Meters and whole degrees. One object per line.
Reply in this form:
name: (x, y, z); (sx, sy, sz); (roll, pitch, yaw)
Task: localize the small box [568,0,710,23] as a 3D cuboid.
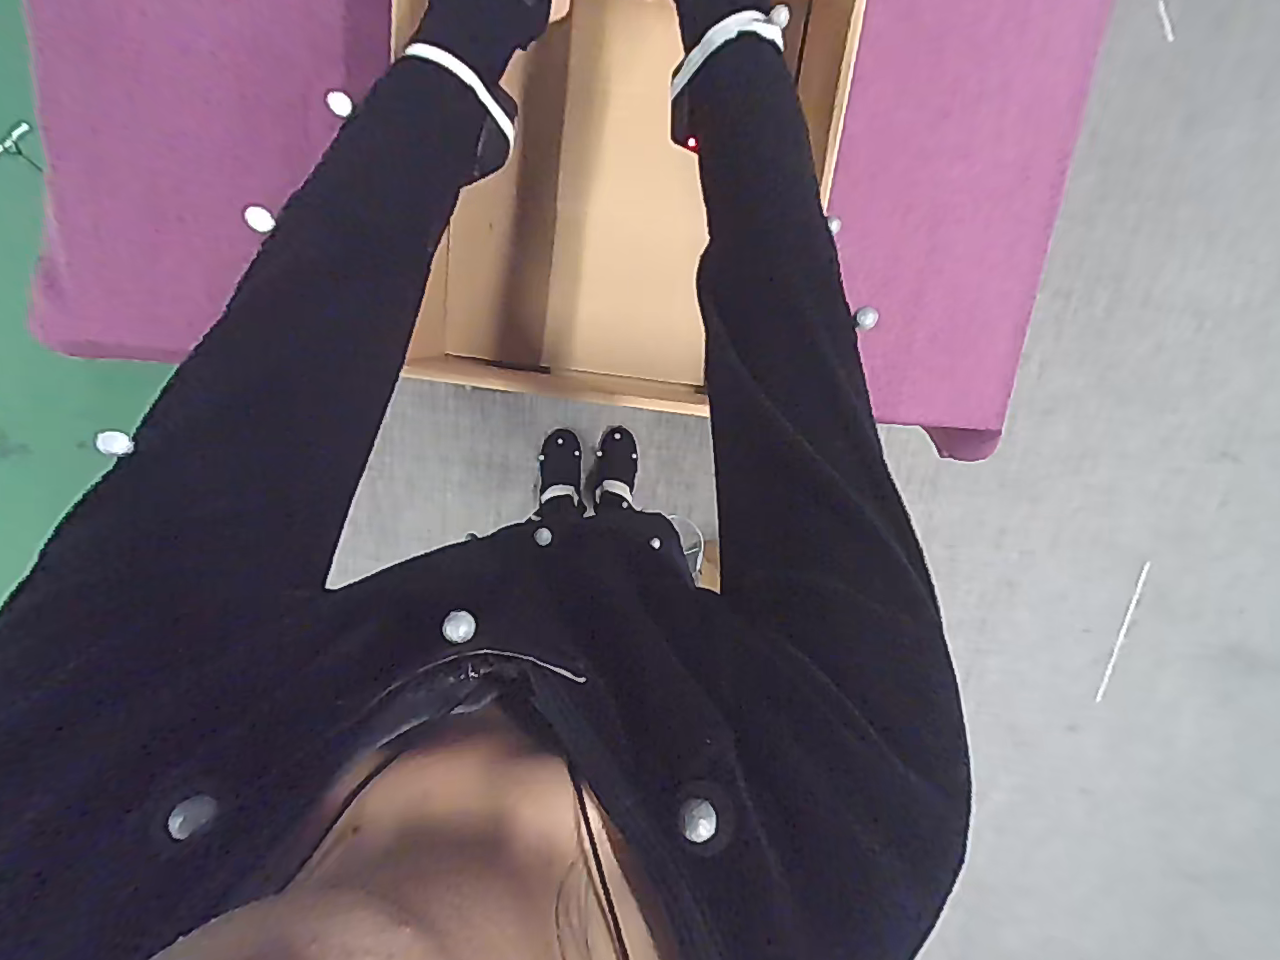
small box: (0.003, -0.561, 0.475); (0.168, 0.176, 0.179); (6, 104, -3)

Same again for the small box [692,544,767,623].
small box: (0.240, 0.283, 1.500); (0.179, 0.176, 0.168); (0, 103, -4)
